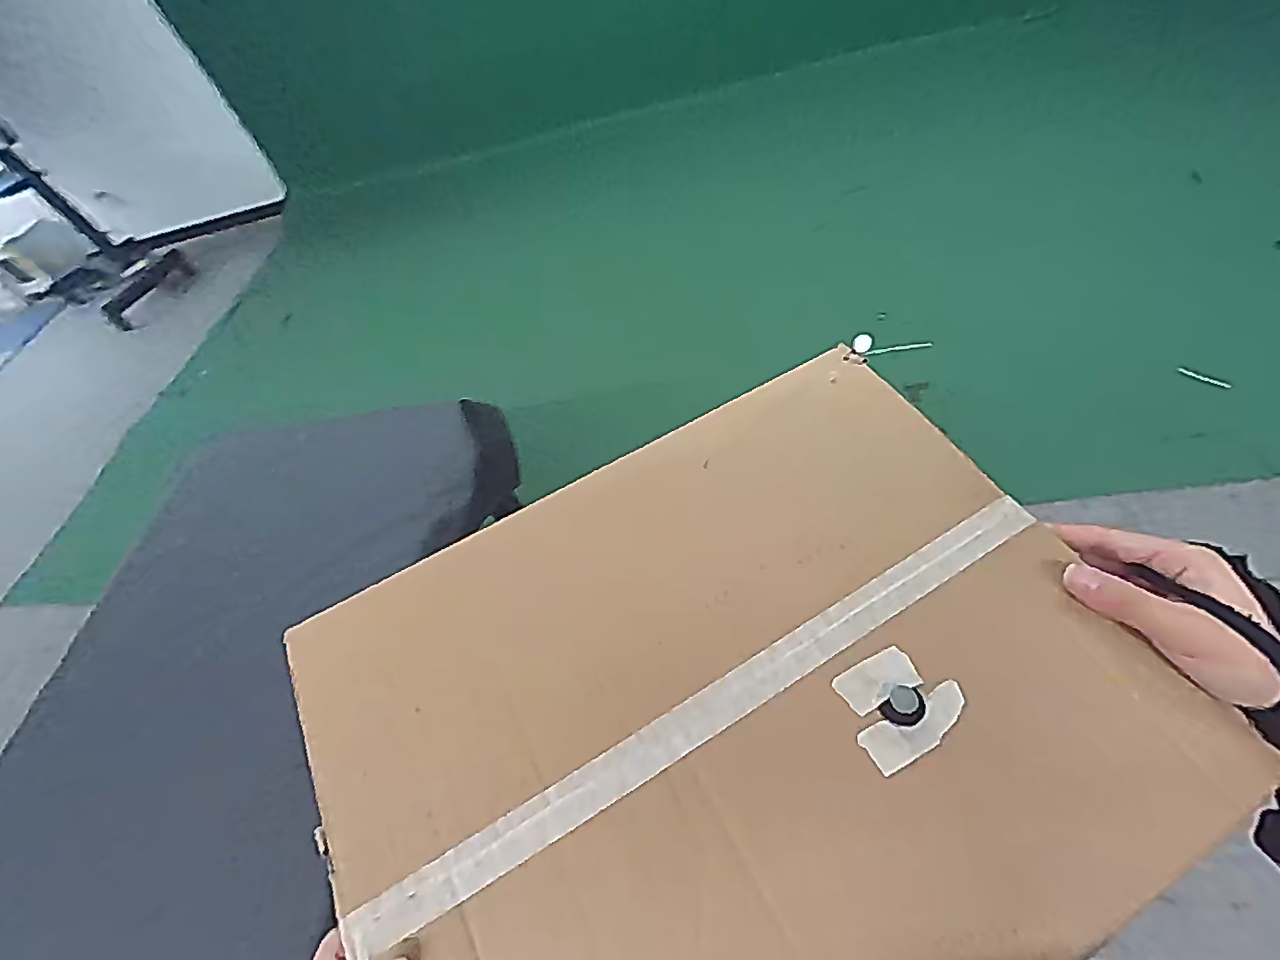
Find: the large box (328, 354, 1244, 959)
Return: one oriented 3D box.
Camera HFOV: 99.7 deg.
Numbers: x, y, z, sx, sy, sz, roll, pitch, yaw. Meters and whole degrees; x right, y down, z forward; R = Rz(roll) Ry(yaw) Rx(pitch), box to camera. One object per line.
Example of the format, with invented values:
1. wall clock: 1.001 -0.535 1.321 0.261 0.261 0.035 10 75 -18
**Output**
1. large box: 0.064 0.181 0.423 0.408 0.320 0.320 -27 63 -12
